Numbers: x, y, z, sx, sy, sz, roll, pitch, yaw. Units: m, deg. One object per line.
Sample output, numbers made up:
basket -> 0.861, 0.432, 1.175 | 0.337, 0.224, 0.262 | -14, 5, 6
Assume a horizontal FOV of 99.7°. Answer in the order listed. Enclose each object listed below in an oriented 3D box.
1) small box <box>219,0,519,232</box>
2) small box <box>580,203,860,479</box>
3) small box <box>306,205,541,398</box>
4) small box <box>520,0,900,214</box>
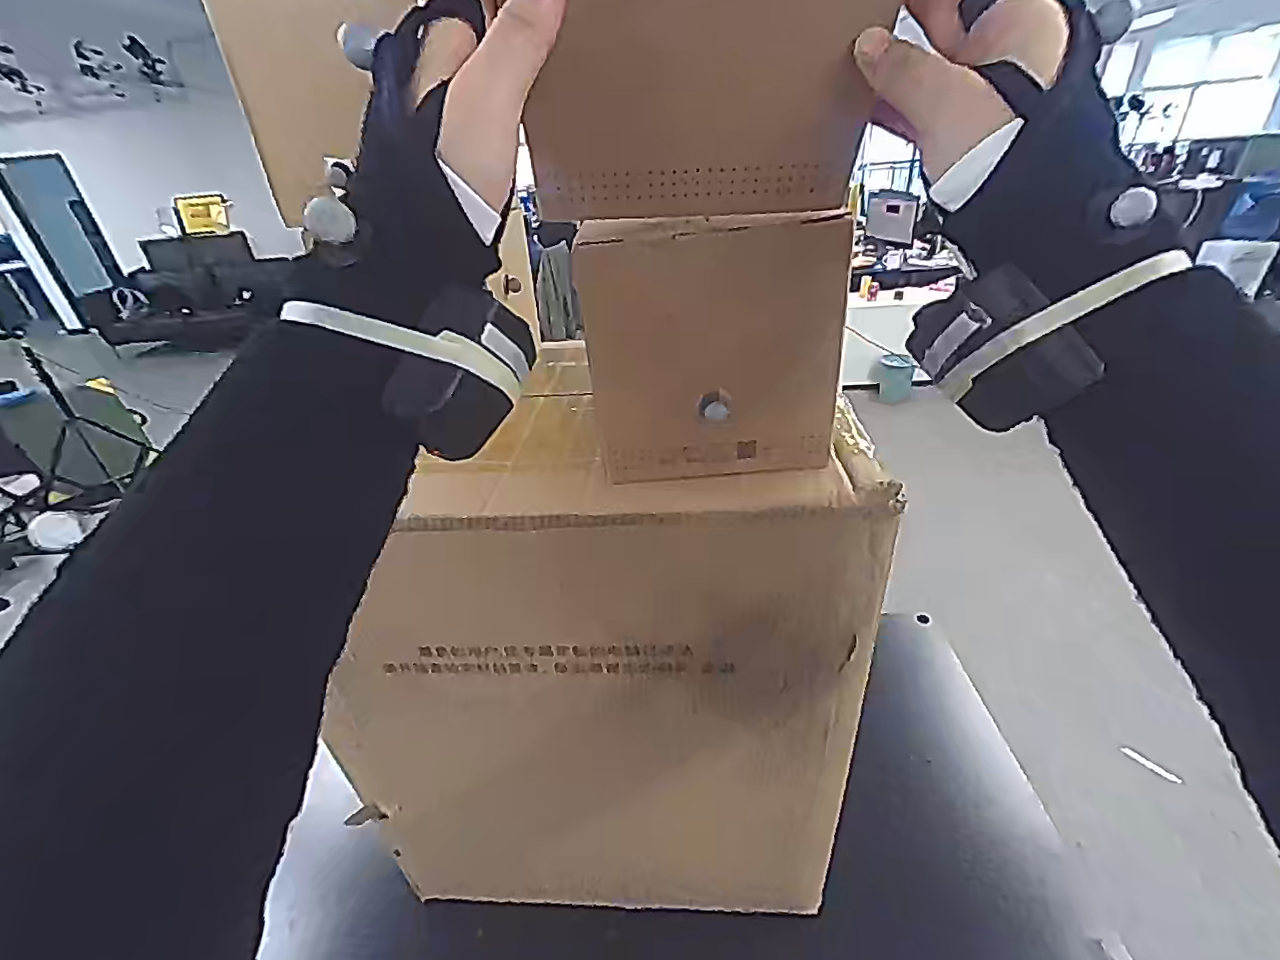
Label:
small box -> -0.219, -0.328, 0.495 | 0.168, 0.176, 0.179 | -1, 31, 6
small box -> 0.053, -0.117, 0.424 | 0.168, 0.176, 0.179 | -5, 32, 3
small box -> -0.212, -0.195, 0.592 | 0.168, 0.176, 0.179 | -1, 31, 4
small box -> 0.031, -0.261, 0.285 | 0.179, 0.176, 0.168 | -1, 57, 1
